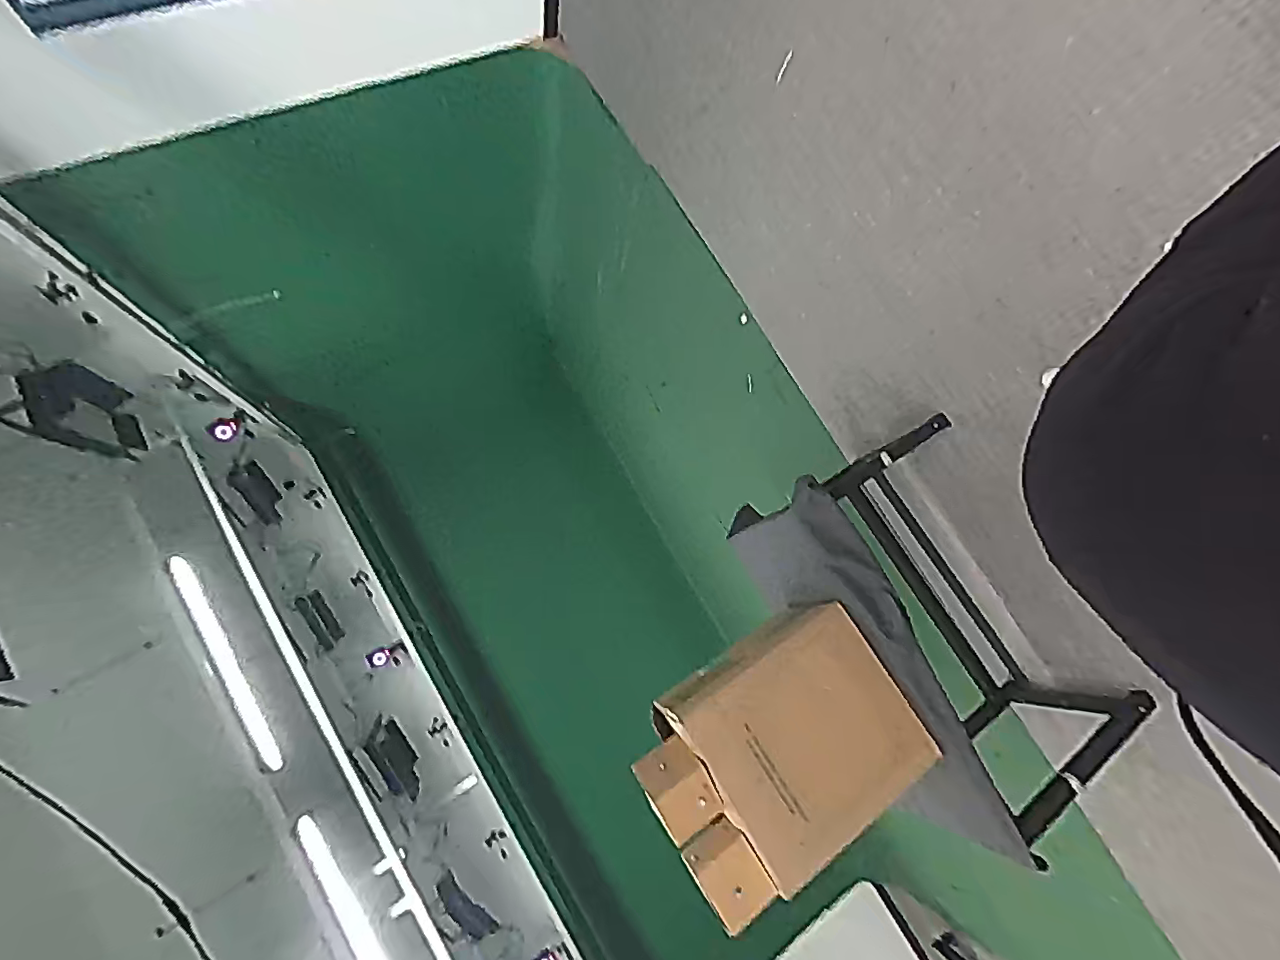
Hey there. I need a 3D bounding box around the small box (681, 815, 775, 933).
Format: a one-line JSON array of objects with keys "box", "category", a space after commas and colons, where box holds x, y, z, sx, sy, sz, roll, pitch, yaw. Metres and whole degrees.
[{"box": [0.247, 1.092, 1.516, 0.179, 0.176, 0.168, 56, 161, 8], "category": "small box"}]

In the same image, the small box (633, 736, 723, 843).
[{"box": [0.108, 0.876, 1.555, 0.168, 0.176, 0.179, 65, 162, -13], "category": "small box"}]
